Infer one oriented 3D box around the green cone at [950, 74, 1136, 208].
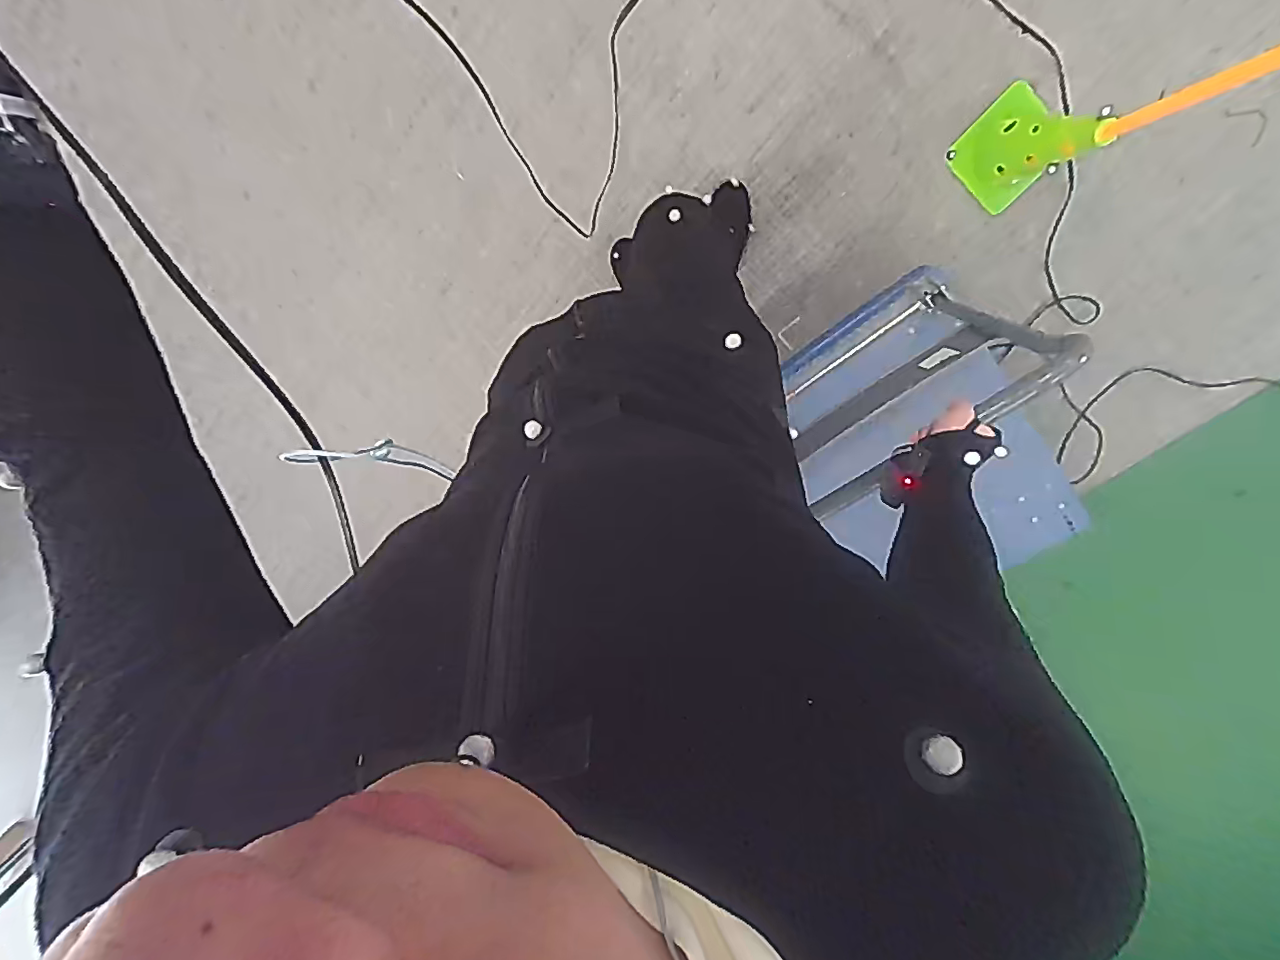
[{"bbox_3d":[0.820,-0.678,1.064,0.200,0.368,0.202,37,114,-13],"label":"green cone"}]
